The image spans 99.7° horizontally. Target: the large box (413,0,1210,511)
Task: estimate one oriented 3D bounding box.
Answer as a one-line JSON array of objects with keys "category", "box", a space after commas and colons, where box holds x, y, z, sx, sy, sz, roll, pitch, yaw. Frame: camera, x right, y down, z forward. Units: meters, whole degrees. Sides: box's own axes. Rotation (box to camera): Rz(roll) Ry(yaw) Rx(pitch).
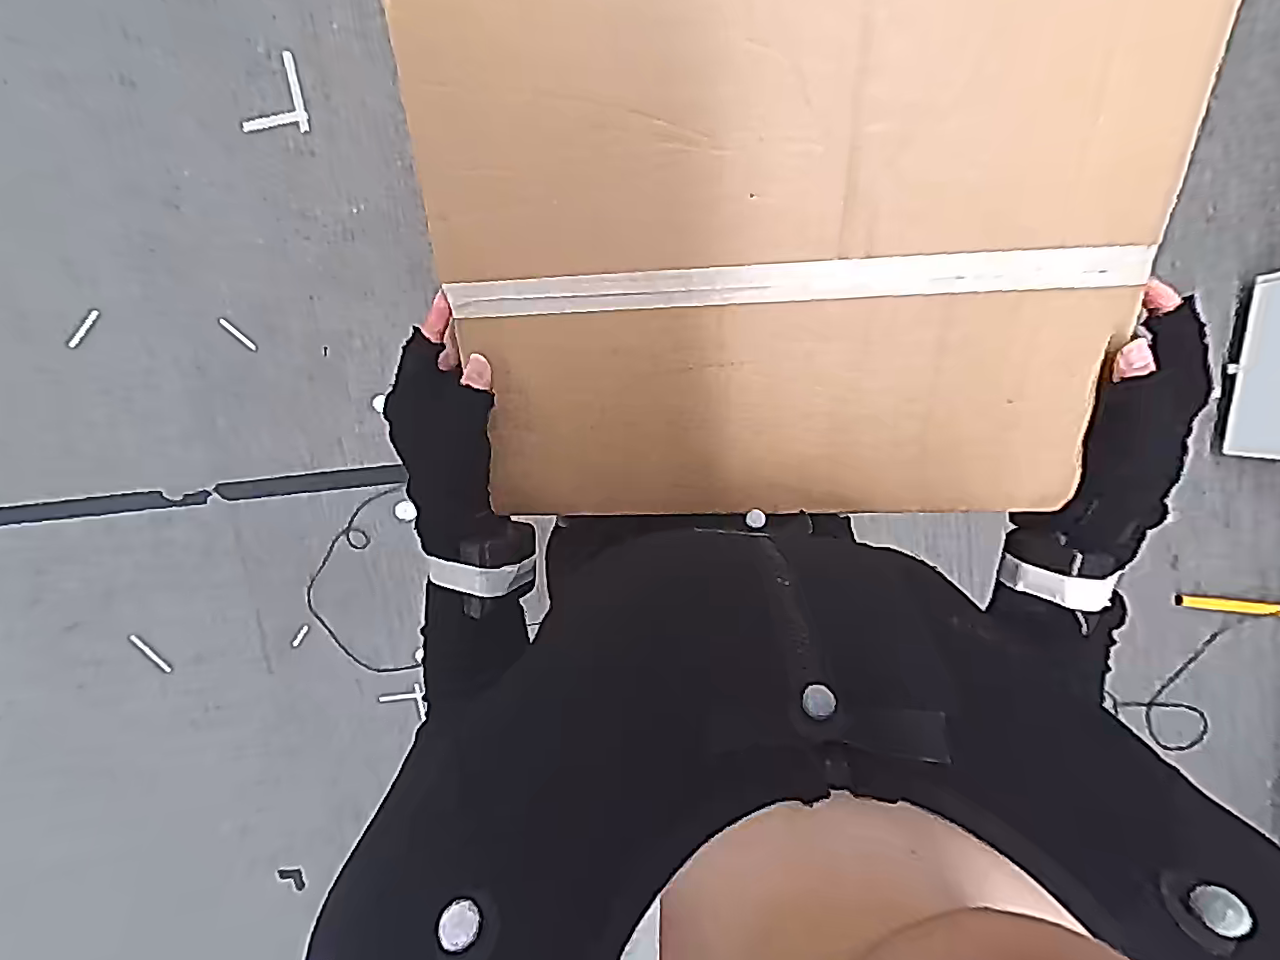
[{"category": "large box", "box": [0.093, -0.183, 0.464, 0.408, 0.320, 0.320, 0, 117, 5]}]
